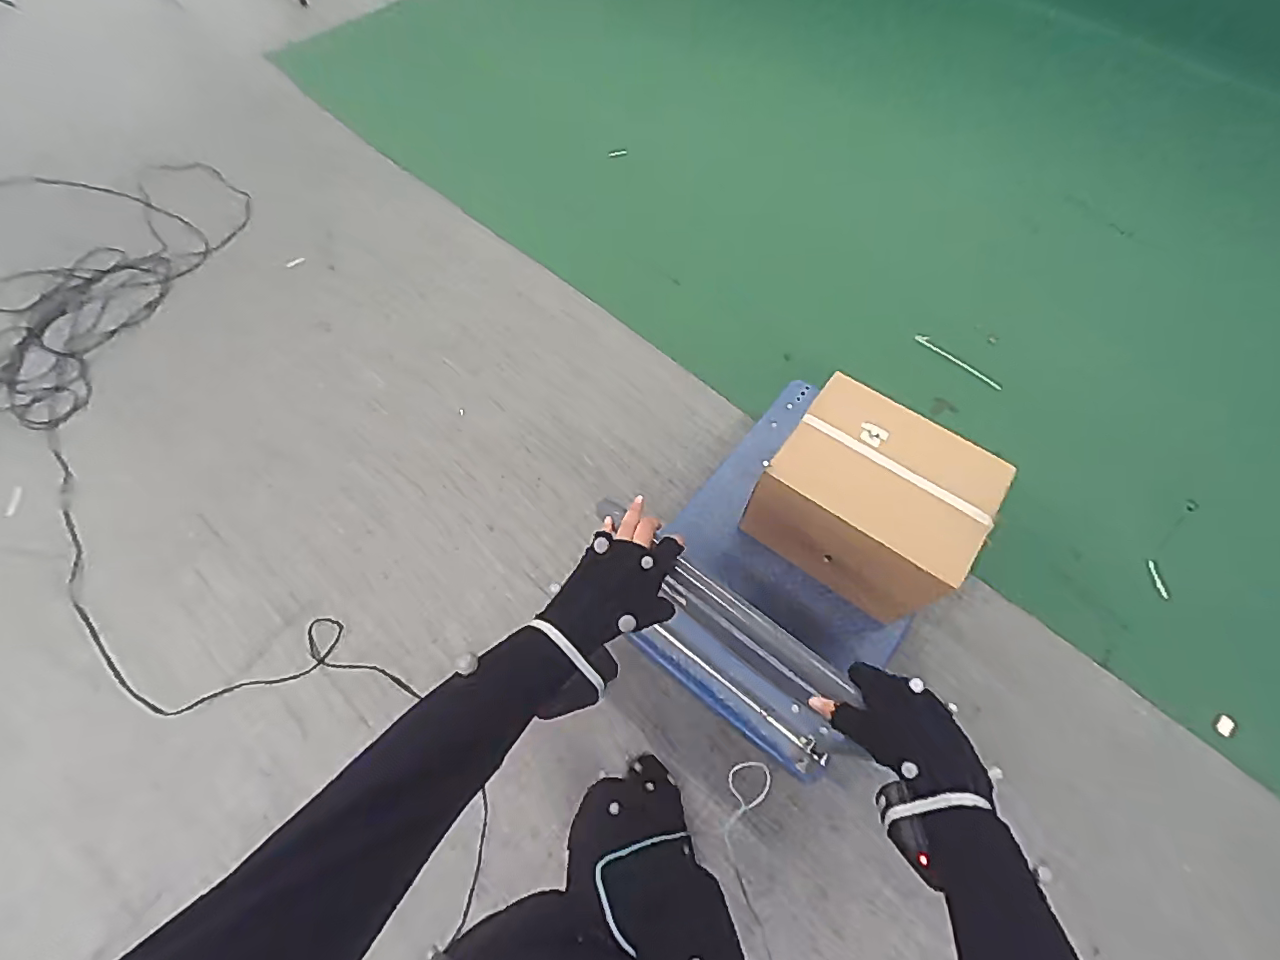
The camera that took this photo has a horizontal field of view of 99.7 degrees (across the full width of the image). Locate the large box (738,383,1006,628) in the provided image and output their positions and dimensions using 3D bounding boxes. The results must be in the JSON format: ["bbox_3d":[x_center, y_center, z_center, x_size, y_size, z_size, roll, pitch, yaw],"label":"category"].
[{"bbox_3d":[0.485,0.064,1.205,0.408,0.320,0.320,34,67,17],"label":"large box"}]
